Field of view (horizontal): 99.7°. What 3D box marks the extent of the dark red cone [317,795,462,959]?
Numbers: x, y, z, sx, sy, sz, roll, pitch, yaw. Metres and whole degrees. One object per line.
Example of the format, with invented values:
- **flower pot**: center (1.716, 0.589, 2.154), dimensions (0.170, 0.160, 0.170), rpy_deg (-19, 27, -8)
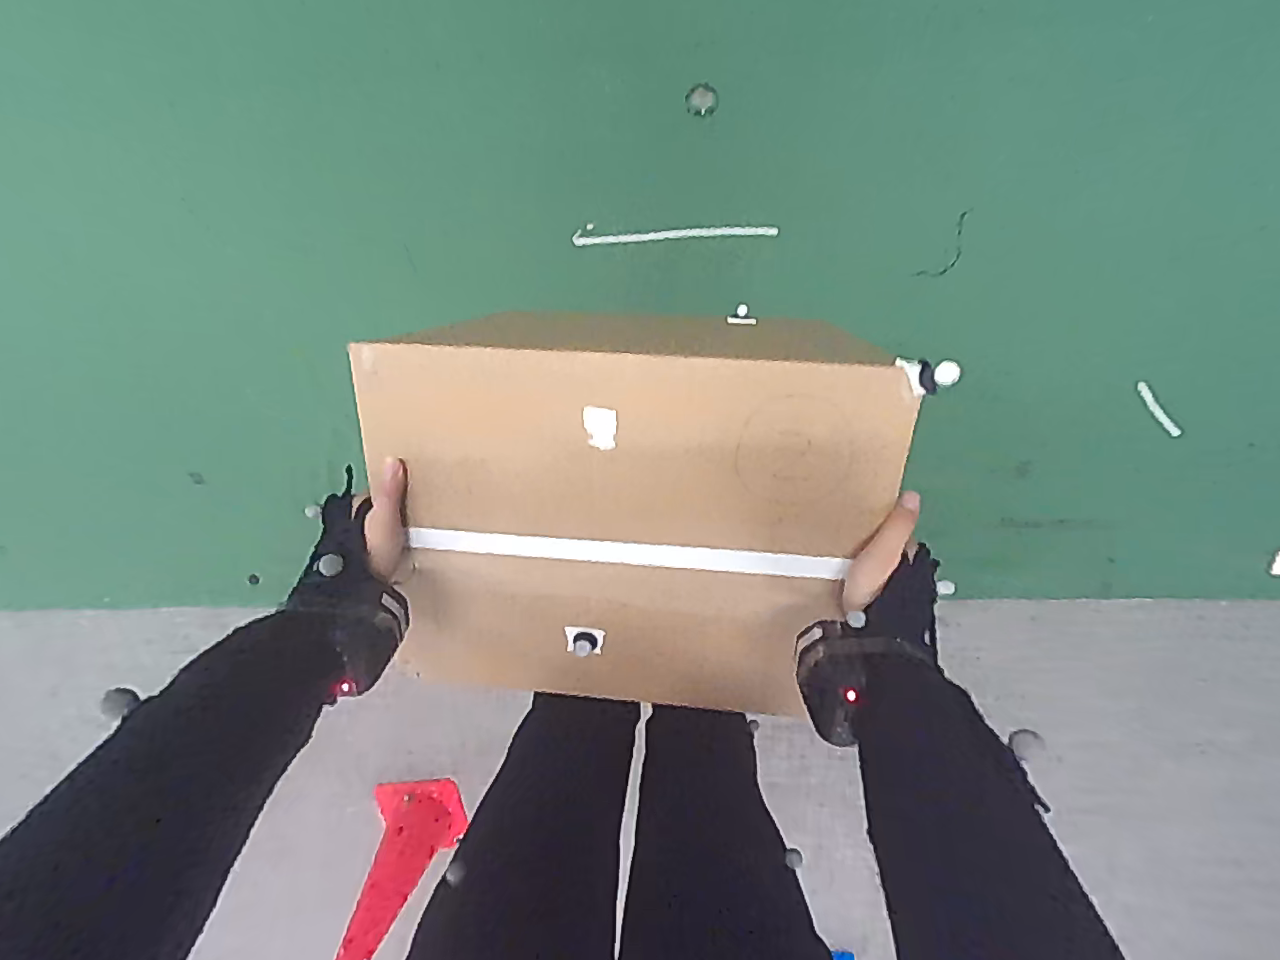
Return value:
- **dark red cone**: center (-0.520, 0.826, 1.045), dimensions (0.202, 0.394, 0.201), rpy_deg (-9, 103, 8)
